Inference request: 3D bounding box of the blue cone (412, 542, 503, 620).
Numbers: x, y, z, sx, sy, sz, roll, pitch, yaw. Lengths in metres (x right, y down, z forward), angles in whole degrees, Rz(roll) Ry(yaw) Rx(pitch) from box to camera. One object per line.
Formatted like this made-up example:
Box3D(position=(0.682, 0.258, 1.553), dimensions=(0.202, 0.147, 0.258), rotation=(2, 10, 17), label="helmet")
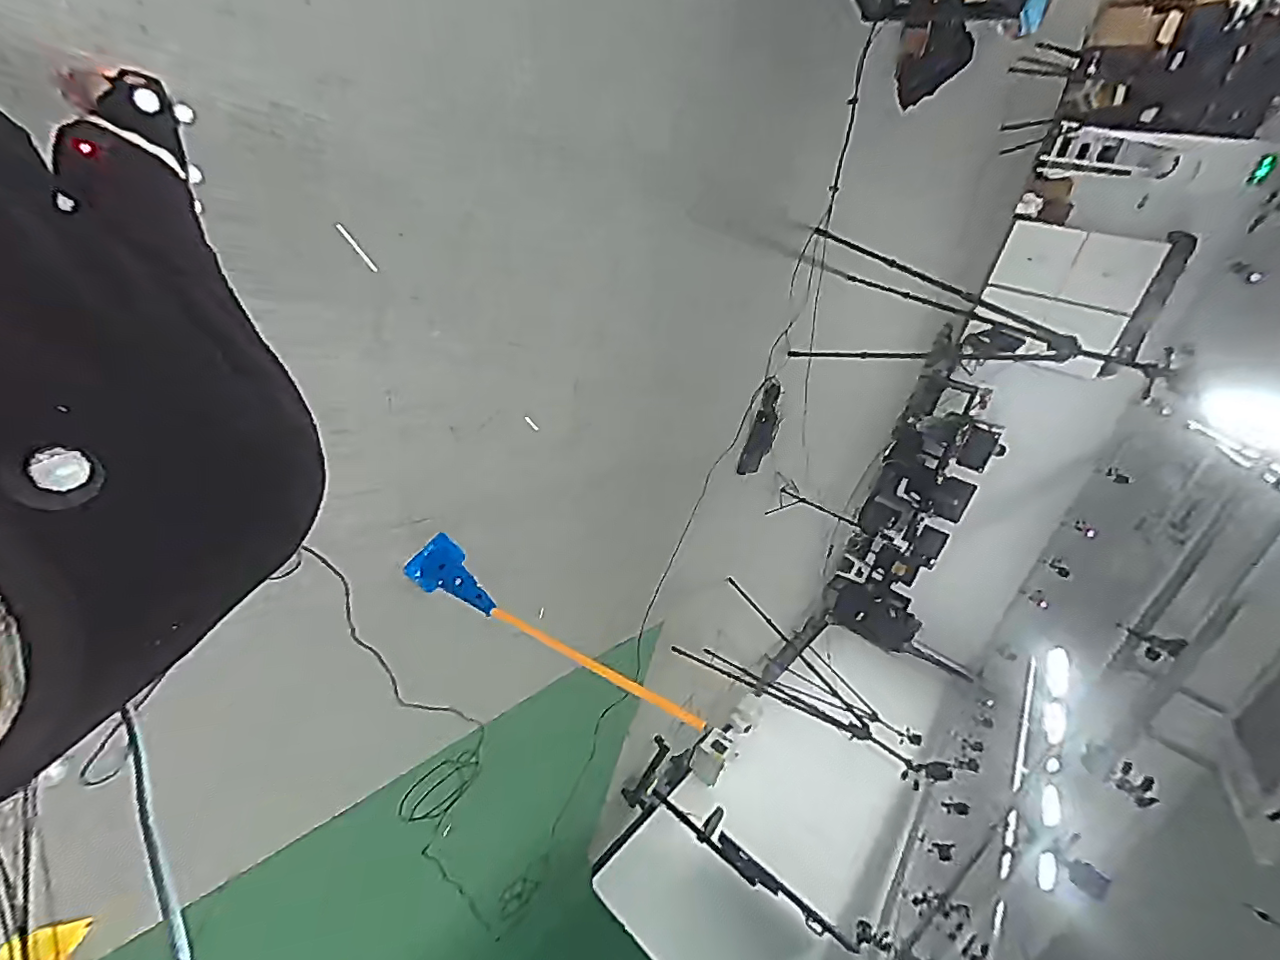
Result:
Box3D(position=(-0.636, 0.400, 1.970), dimensions=(0.193, 0.380, 0.192), rotation=(-51, 147, -21), label="blue cone")
